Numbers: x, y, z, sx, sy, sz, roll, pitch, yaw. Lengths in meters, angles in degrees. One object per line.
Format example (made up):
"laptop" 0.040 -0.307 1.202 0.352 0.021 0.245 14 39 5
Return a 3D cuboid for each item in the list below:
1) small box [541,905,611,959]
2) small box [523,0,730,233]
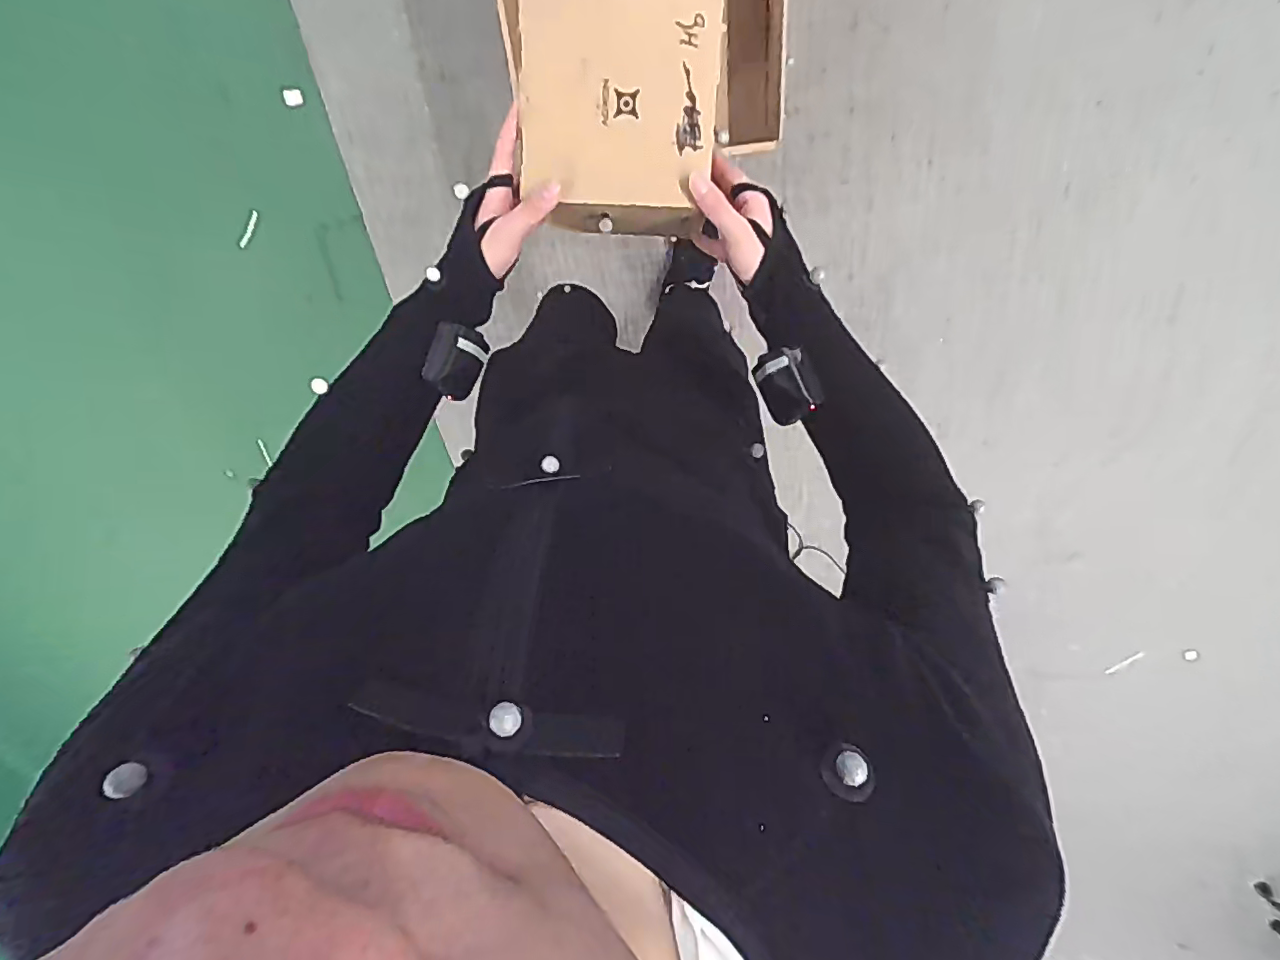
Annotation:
"small box" -0.188 1.416 1.630 0.179 0.176 0.168 -2 119 6
"small box" -0.011 -0.355 0.548 0.179 0.176 0.168 4 106 2
